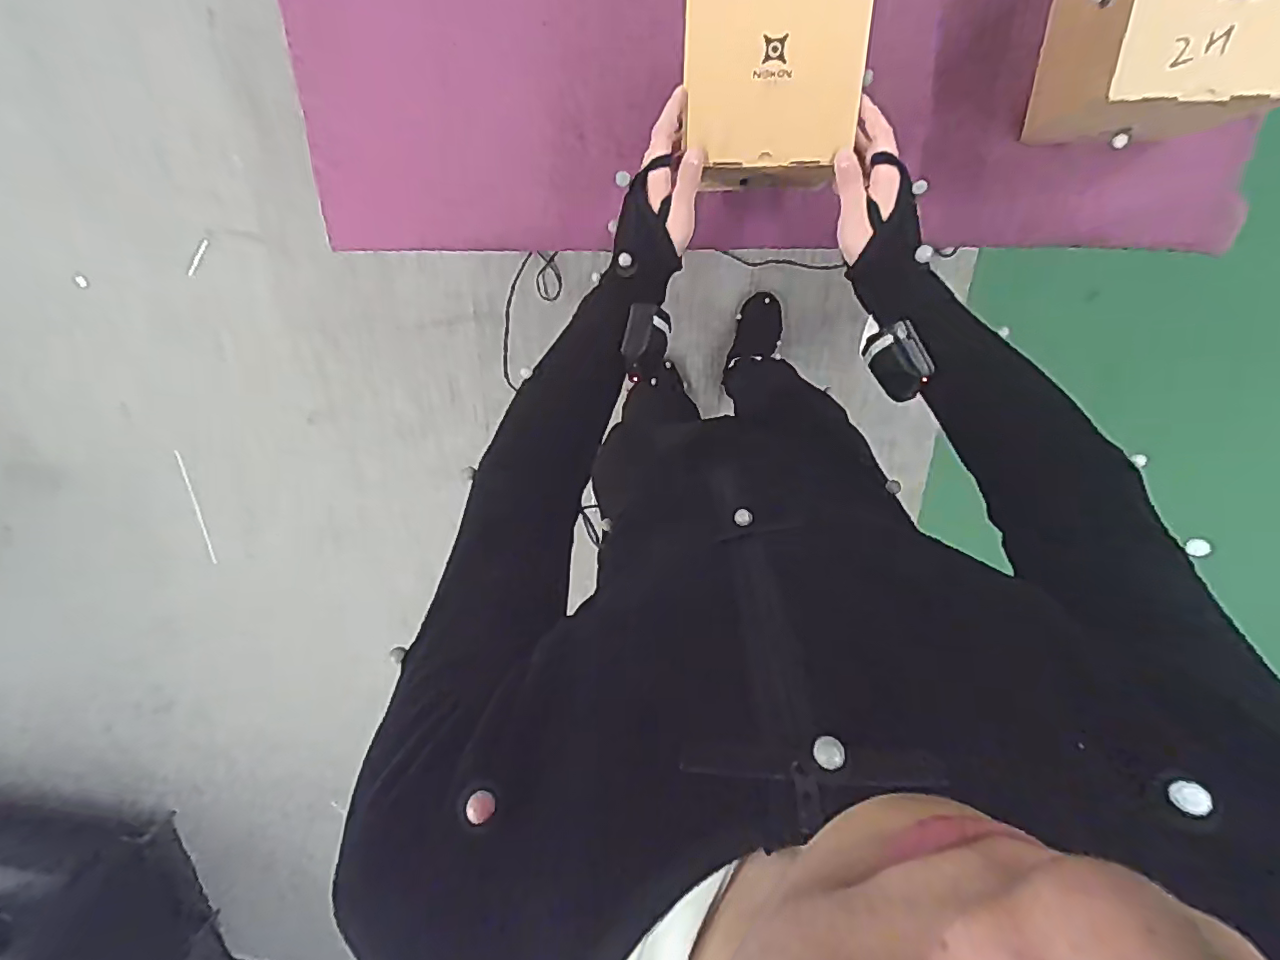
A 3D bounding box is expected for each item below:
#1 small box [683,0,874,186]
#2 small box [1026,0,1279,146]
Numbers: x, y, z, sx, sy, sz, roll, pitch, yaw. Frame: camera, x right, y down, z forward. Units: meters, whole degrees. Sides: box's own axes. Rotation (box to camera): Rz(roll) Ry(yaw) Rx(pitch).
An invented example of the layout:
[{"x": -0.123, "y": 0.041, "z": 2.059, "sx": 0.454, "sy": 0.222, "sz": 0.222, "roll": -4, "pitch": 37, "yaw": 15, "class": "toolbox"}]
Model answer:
[{"x": 0.132, "y": -0.418, "z": 0.566, "sx": 0.168, "sy": 0.176, "sz": 0.179, "roll": 3, "pitch": 113, "yaw": 6, "class": "small box"}, {"x": 0.531, "y": -0.457, "z": 0.542, "sx": 0.168, "sy": 0.176, "sz": 0.179, "roll": 5, "pitch": 111, "yaw": 9, "class": "small box"}]
